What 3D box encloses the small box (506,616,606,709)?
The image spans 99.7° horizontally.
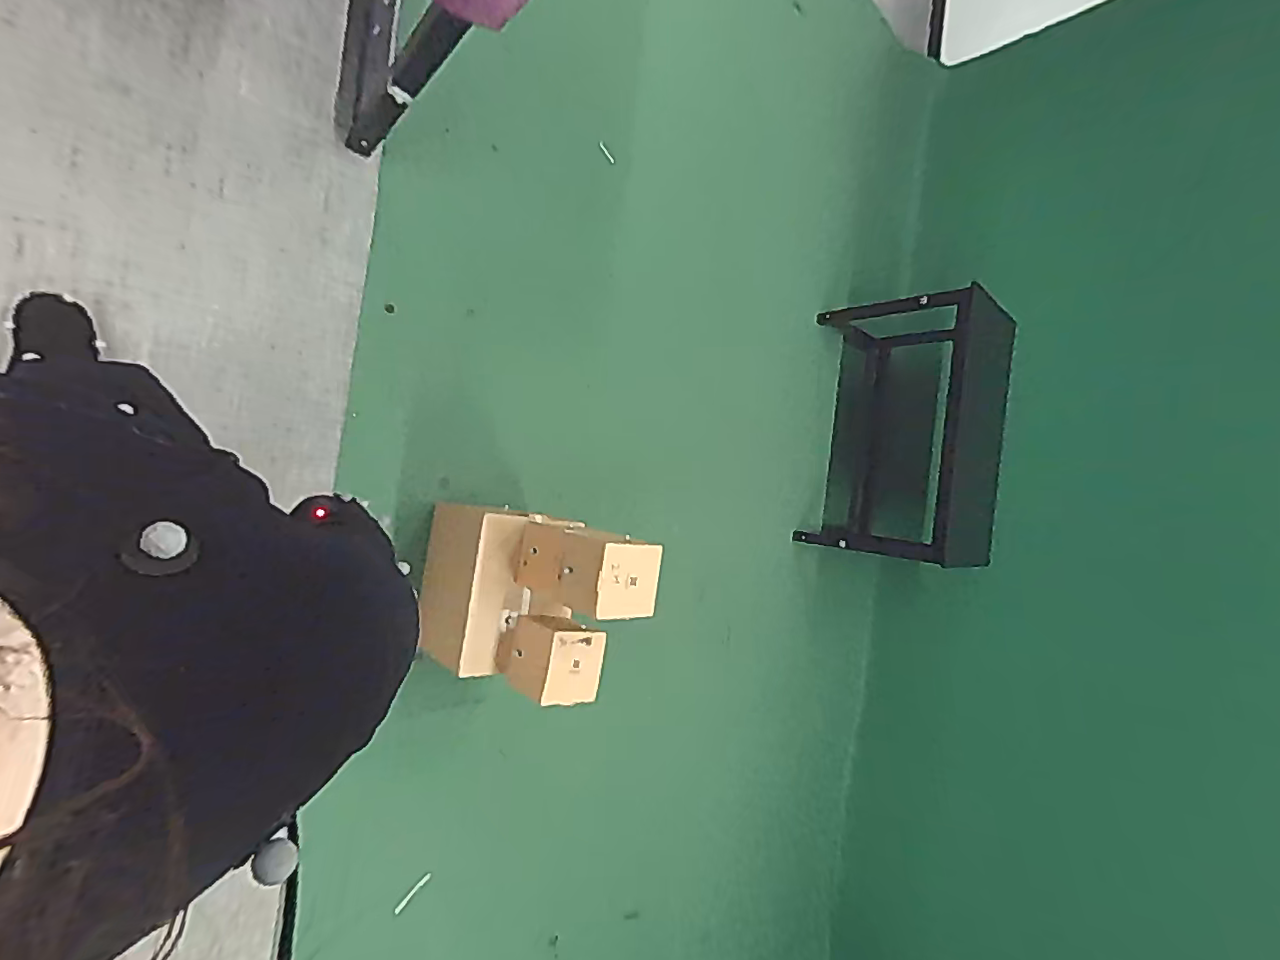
[{"bbox_3d":[-0.216,0.455,1.360,0.168,0.176,0.179,18,81,-43],"label":"small box"}]

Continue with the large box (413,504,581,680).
[{"bbox_3d":[-0.401,0.290,1.509,0.320,0.320,0.408,11,87,-42],"label":"large box"}]

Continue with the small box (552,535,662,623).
[{"bbox_3d":[-0.077,0.223,1.246,0.179,0.176,0.168,9,88,-42],"label":"small box"}]

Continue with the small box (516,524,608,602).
[{"bbox_3d":[-0.186,0.209,1.369,0.179,0.176,0.168,11,87,-42],"label":"small box"}]
